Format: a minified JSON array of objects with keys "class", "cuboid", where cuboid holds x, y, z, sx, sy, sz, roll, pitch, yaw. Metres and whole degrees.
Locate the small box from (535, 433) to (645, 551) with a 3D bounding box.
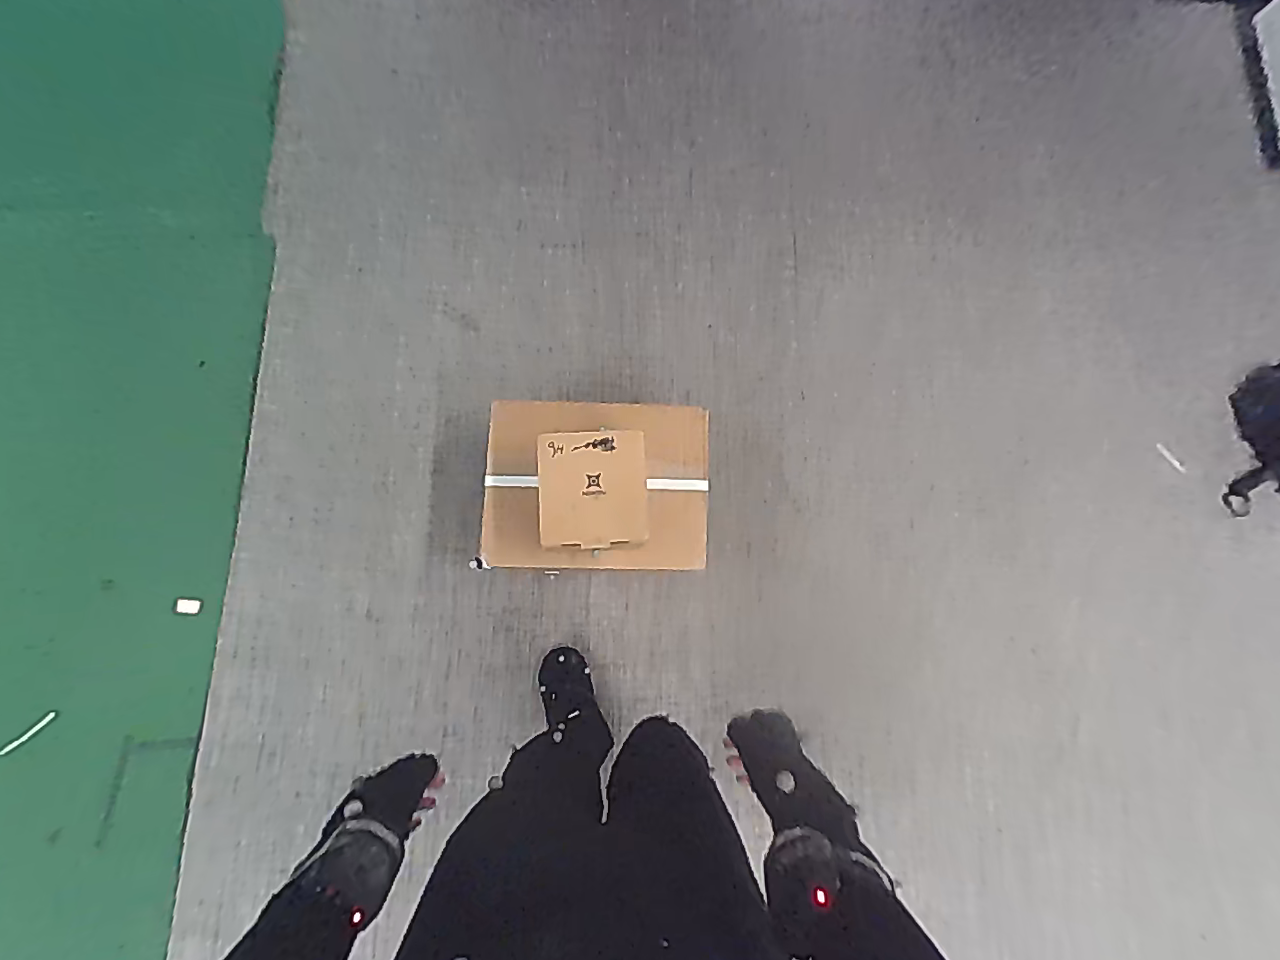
[{"class":"small box","cuboid":[-0.079,0.027,0.896,0.168,0.176,0.179,-3,81,-4]}]
